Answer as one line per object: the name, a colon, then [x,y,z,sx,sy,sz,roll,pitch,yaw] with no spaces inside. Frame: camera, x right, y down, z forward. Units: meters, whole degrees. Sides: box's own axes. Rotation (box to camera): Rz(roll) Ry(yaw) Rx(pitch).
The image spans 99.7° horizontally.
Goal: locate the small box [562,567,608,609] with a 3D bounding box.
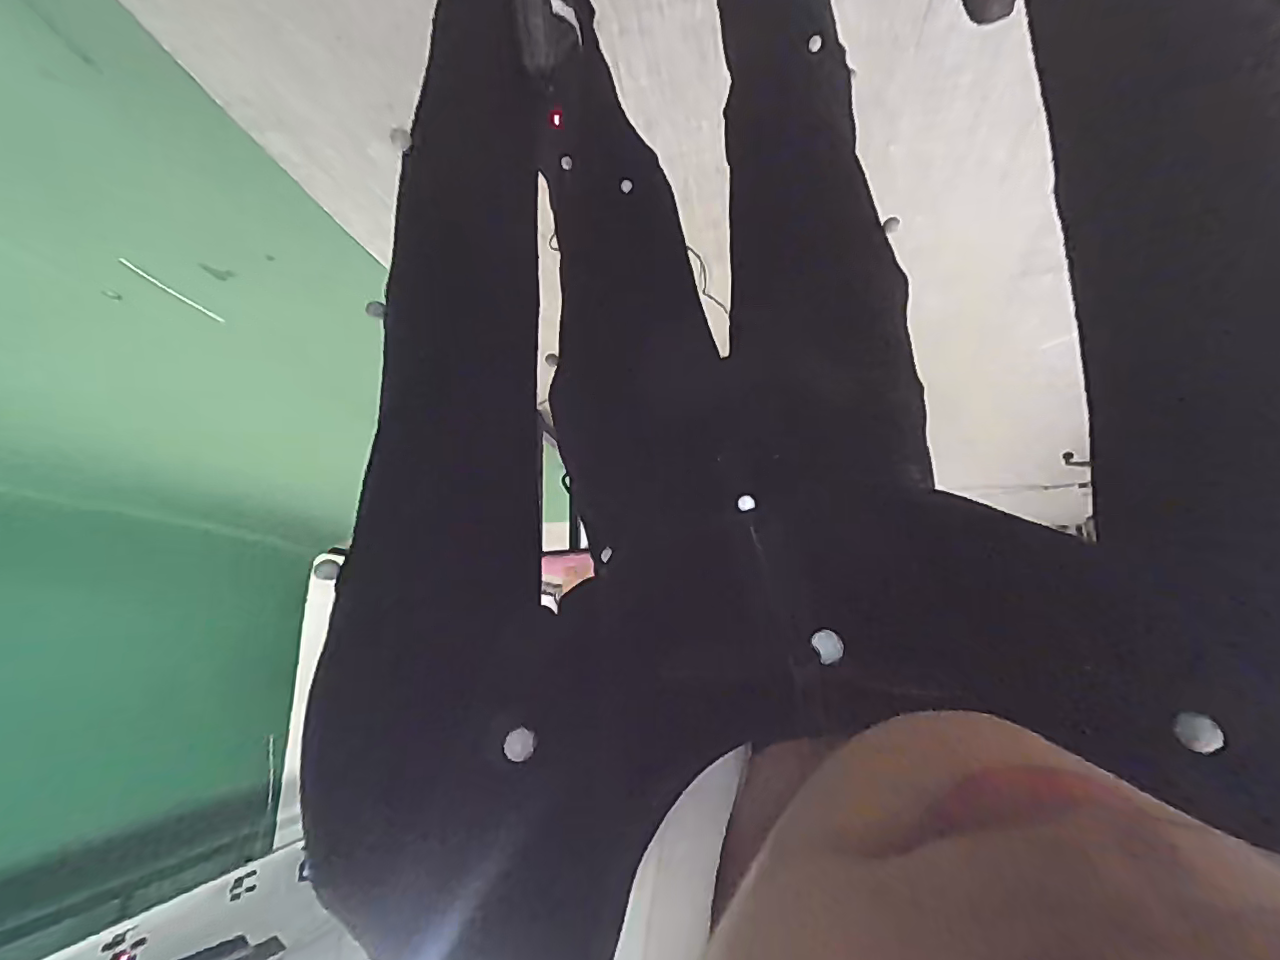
small box: [-0.238,0.472,2.366,0.168,0.176,0.179,-6,164,8]
